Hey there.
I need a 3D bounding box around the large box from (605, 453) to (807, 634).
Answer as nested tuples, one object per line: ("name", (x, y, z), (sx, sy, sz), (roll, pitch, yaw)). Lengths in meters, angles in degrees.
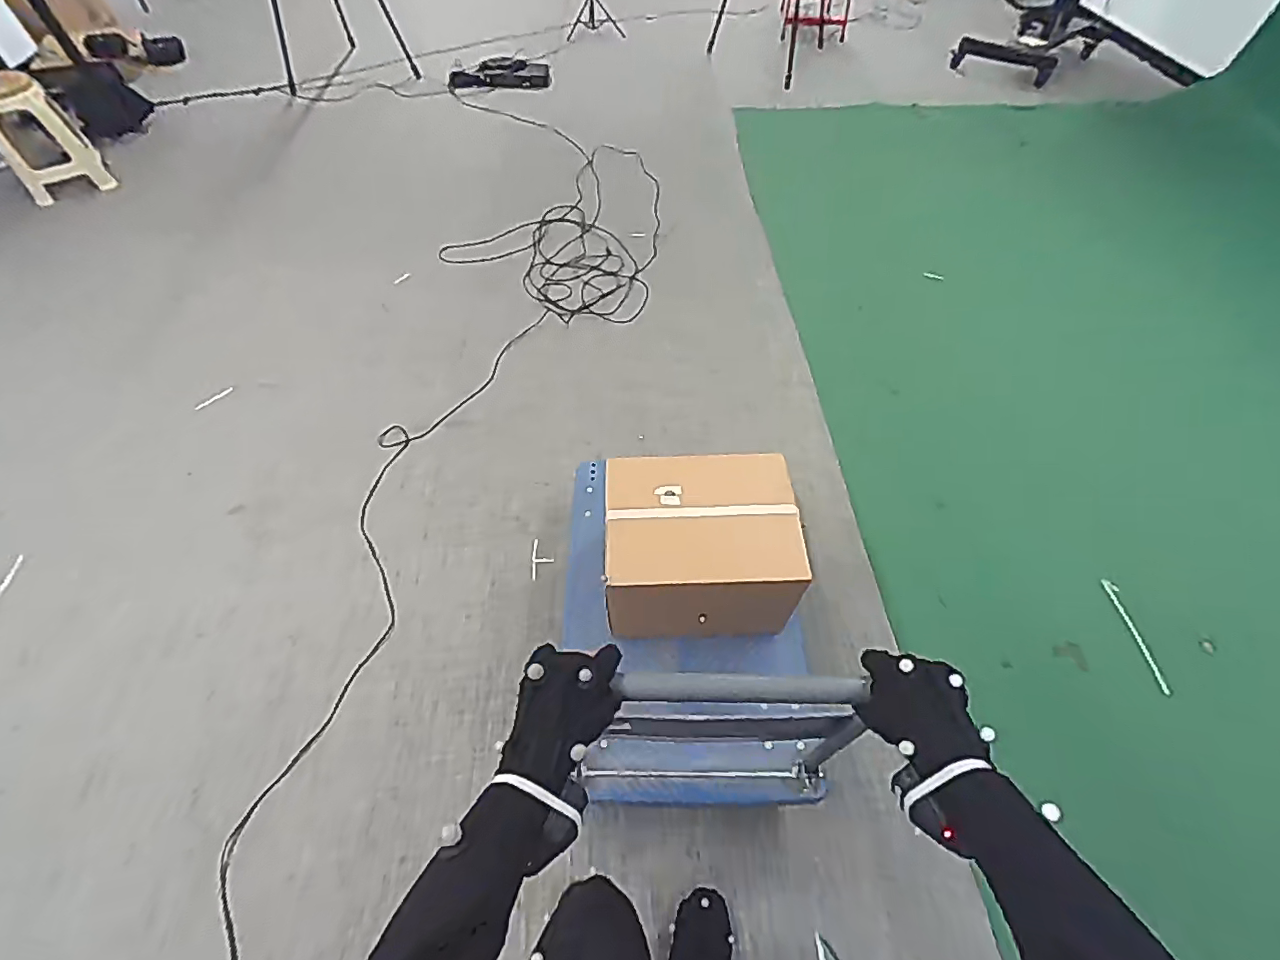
("large box", (0.129, 0.158, 1.263), (0.408, 0.320, 0.320), (-2, 55, 0))
